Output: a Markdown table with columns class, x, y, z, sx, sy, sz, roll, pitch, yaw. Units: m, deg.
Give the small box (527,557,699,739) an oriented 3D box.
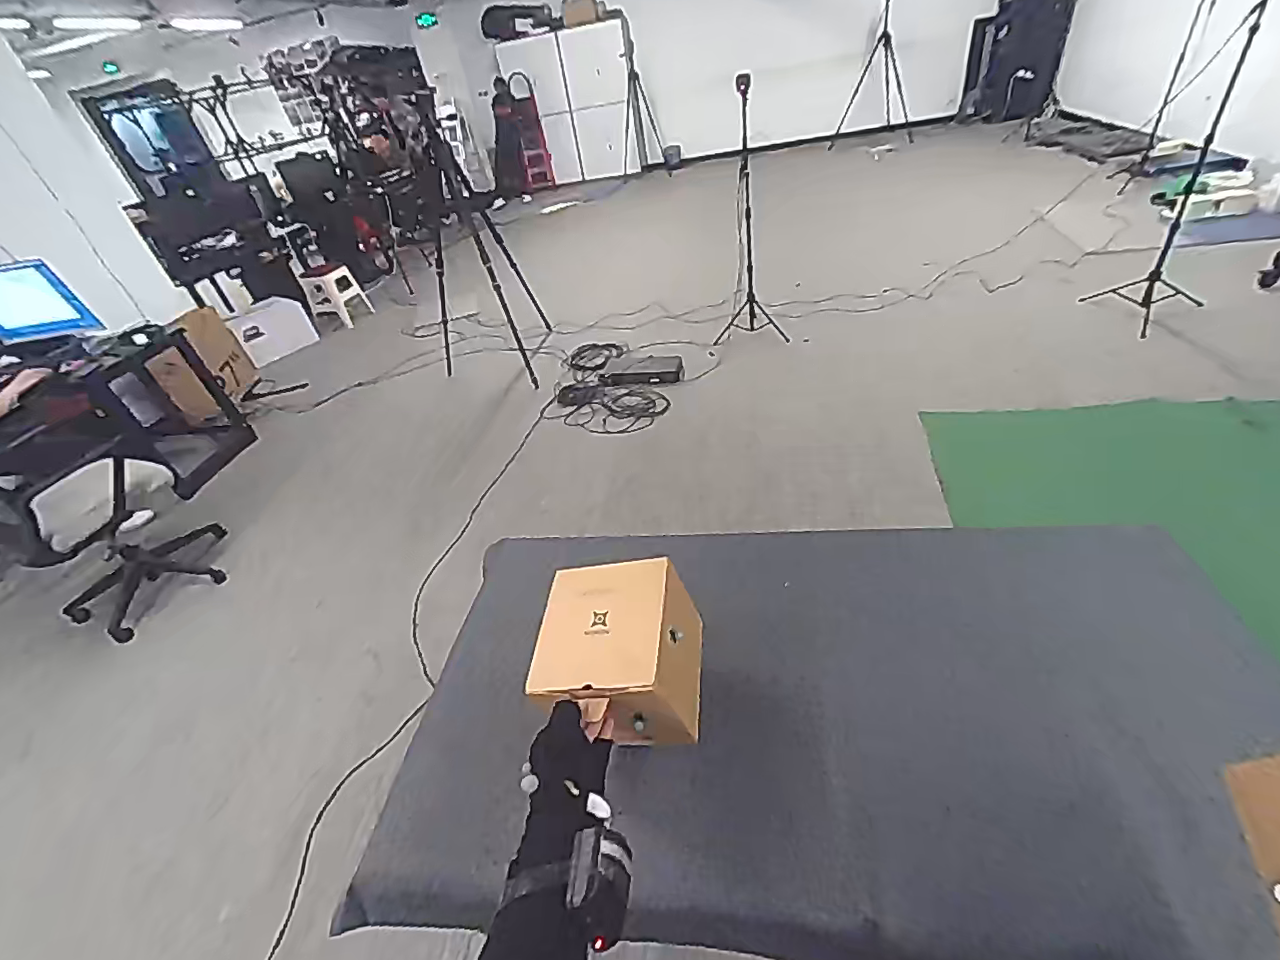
| class | x | y | z | sx | sy | sz | roll | pitch | yaw |
| --- | --- | --- | --- | --- | --- | --- | --- | --- | --- |
| small box | -0.023 | 0.229 | 0.720 | 0.168 | 0.176 | 0.179 | -9 | 42 | 18 |
